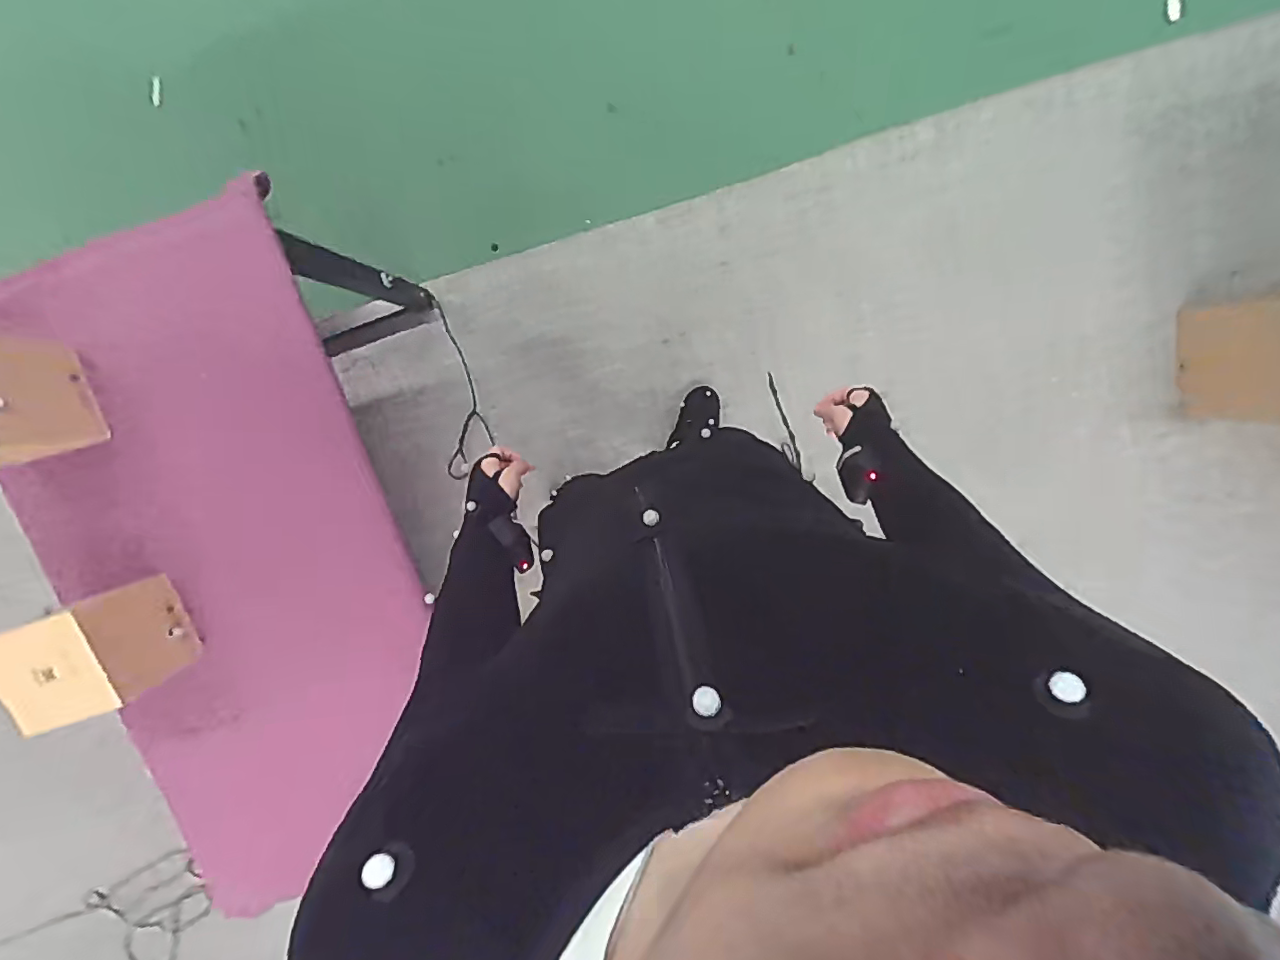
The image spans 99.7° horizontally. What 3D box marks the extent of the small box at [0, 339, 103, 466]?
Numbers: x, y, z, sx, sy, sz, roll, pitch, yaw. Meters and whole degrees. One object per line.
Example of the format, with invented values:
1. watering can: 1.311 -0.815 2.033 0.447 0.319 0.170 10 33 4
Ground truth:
1. small box: -0.991 -0.110 0.813 0.179 0.176 0.168 -15 100 4

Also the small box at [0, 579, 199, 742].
1. small box: -0.886 0.283 0.878 0.179 0.176 0.168 -18 100 4
